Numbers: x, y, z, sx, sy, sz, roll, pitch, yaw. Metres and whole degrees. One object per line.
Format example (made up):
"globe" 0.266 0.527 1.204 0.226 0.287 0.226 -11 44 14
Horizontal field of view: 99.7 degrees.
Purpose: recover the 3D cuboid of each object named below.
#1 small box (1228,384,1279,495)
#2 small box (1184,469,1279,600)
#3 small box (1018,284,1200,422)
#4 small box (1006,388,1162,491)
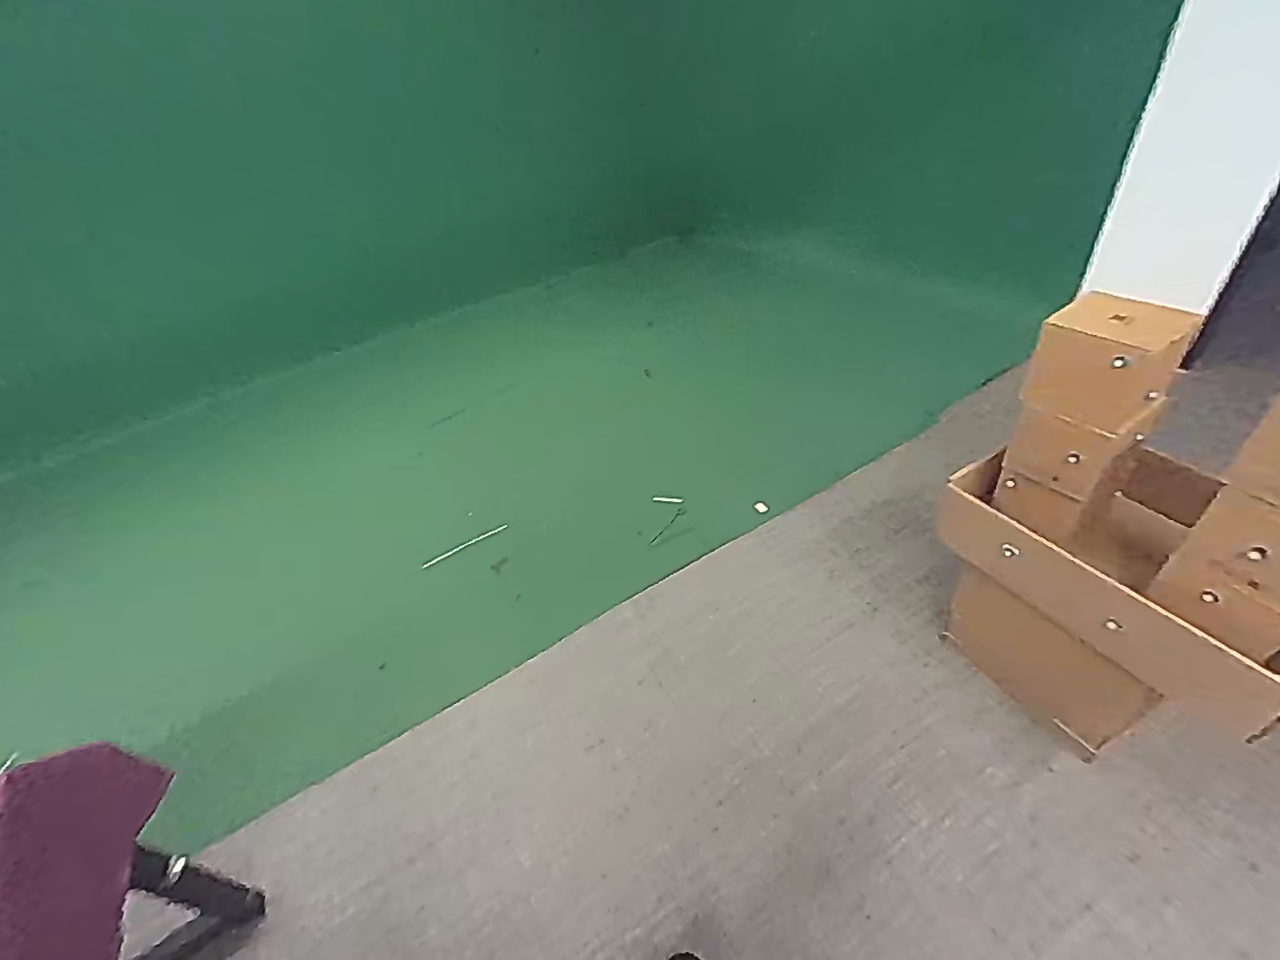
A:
"small box" 0.999 -0.063 0.756 0.179 0.176 0.168 -25 43 -14
"small box" 1.033 0.062 0.859 0.179 0.176 0.168 -26 43 -13
"small box" 0.845 -0.233 0.994 0.168 0.176 0.179 -31 45 -19
"small box" 0.879 -0.106 1.091 0.179 0.176 0.168 -29 44 -19
